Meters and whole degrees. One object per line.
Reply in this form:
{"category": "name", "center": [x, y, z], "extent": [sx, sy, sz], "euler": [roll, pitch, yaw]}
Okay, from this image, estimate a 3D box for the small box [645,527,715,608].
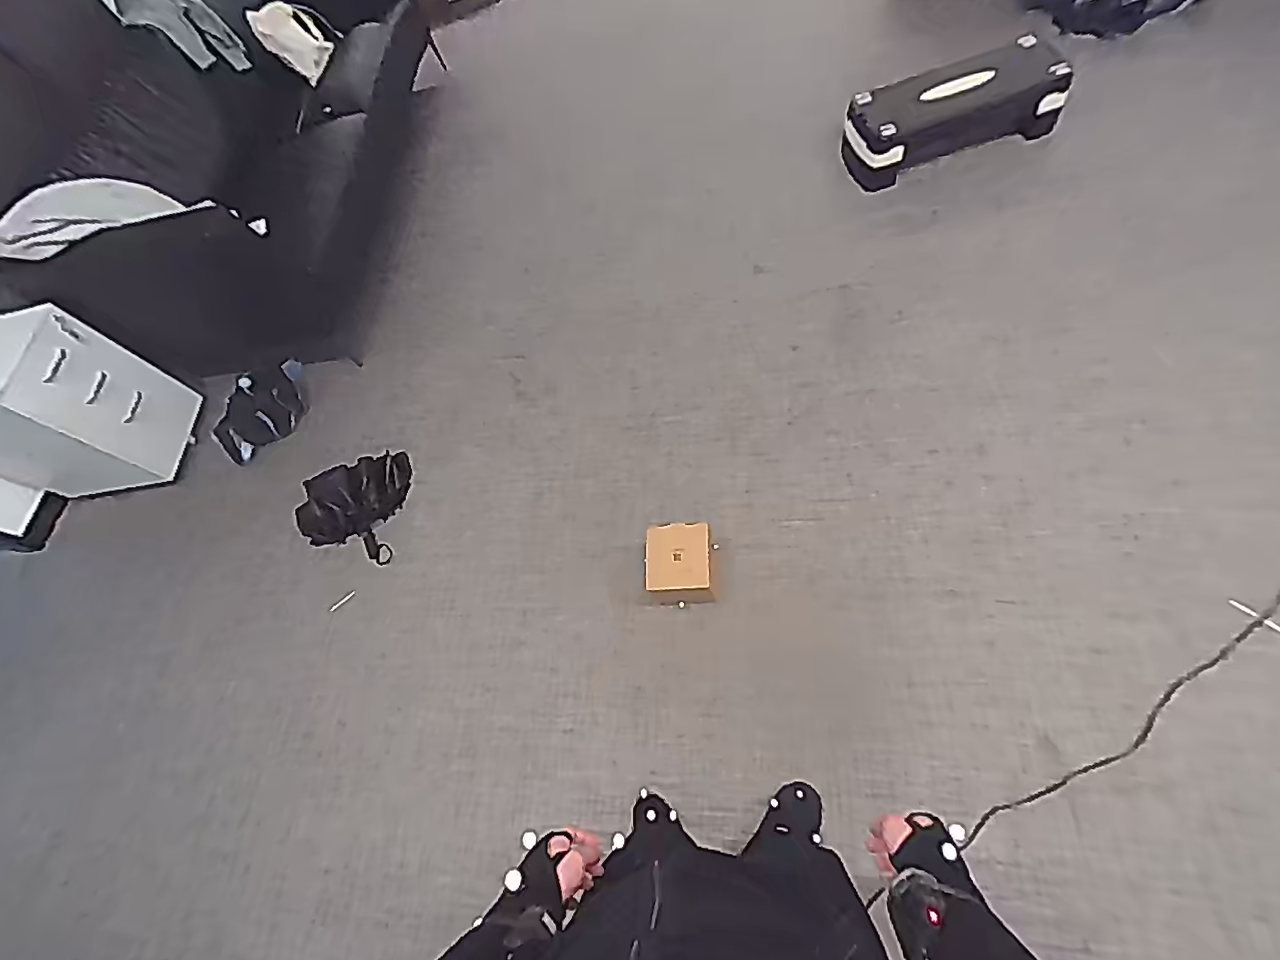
{"category": "small box", "center": [0.112, 0.241, 1.467], "extent": [0.168, 0.176, 0.179], "euler": [-6, 64, 13]}
